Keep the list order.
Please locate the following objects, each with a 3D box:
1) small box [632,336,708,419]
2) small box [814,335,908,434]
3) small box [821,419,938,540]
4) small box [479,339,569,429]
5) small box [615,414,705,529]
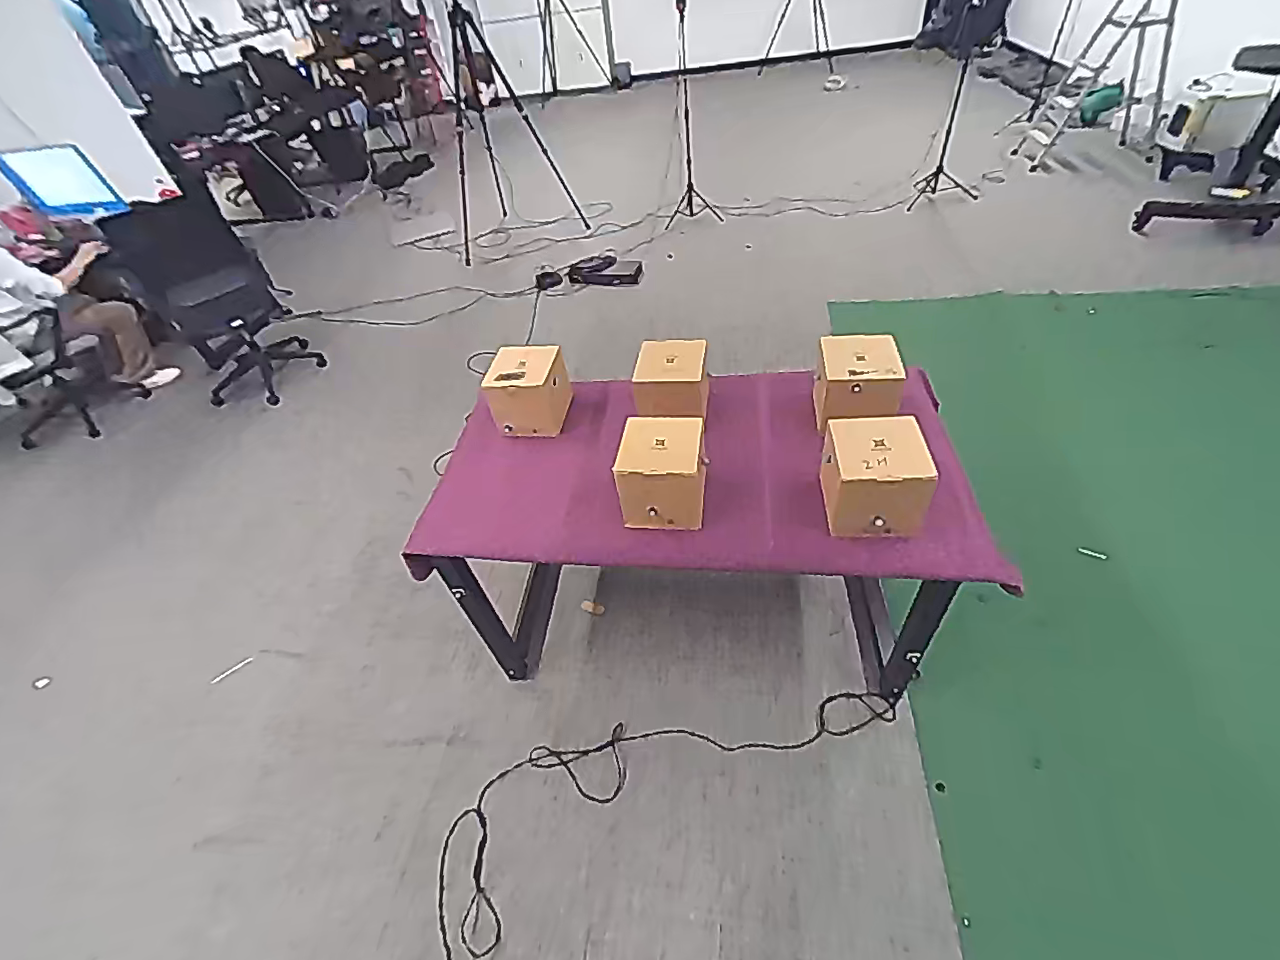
[{"bbox_3d":[0.083,-0.243,1.358,0.168,0.176,0.179,3,48,11],"label":"small box"},{"bbox_3d":[0.511,-0.223,1.278,0.168,0.176,0.179,1,47,10],"label":"small box"},{"bbox_3d":[0.461,-0.002,1.072,0.168,0.176,0.179,0,47,10],"label":"small box"},{"bbox_3d":[-0.292,-0.247,1.407,0.168,0.176,0.179,2,48,9],"label":"small box"},{"bbox_3d":[0.049,-0.018,1.150,0.168,0.176,0.179,3,47,10],"label":"small box"}]
